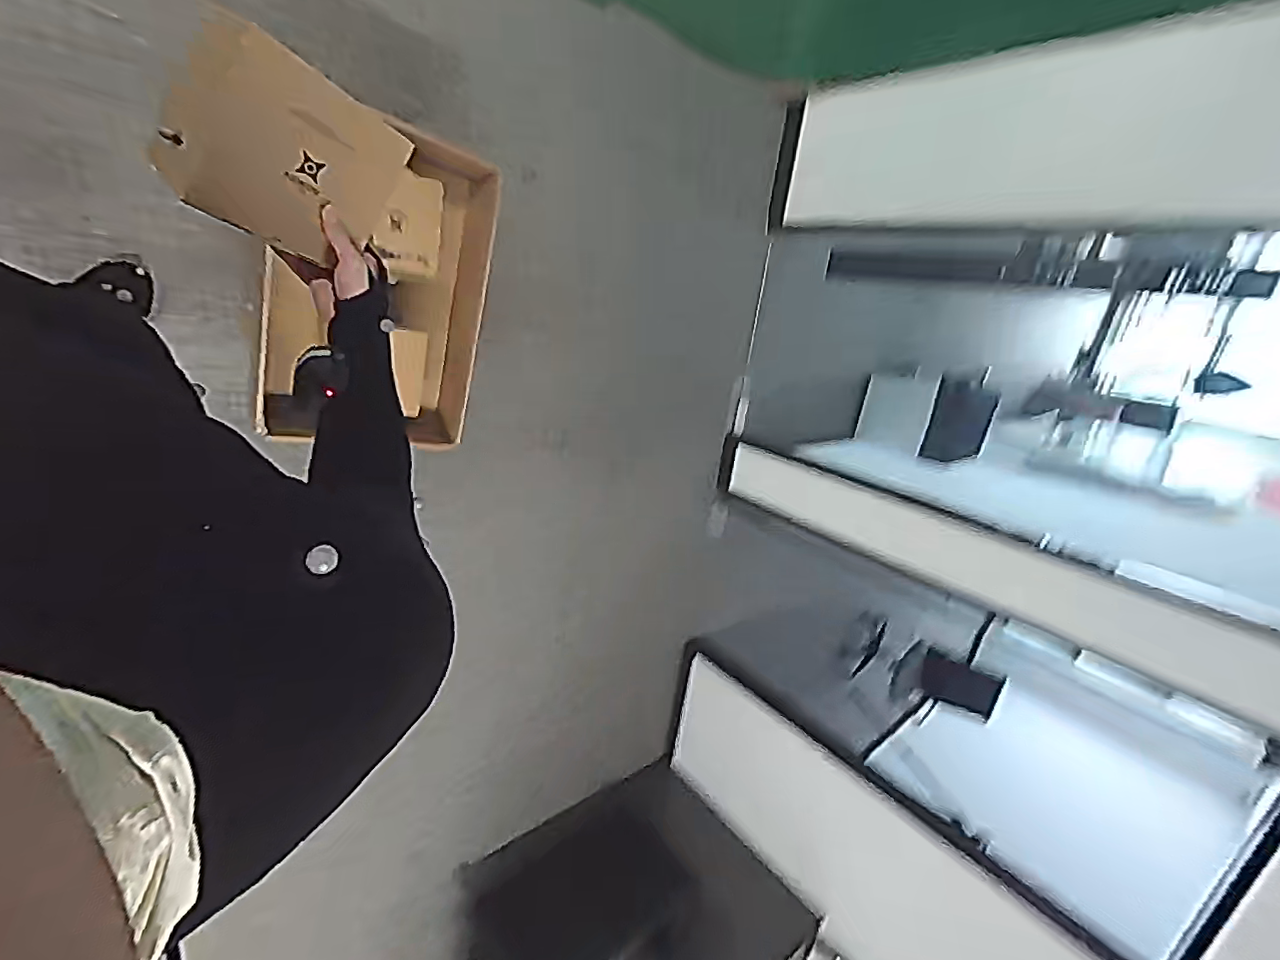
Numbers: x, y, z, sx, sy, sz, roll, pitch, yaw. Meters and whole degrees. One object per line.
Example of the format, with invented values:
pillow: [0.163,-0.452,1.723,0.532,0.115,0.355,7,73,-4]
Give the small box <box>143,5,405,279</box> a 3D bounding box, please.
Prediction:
small box: [-0.401,-0.361,0.590,0.179,0.176,0.168,-57,151,12]

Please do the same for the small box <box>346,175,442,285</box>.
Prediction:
small box: [-0.507,-0.493,1.054,0.168,0.176,0.179,-2,110,-43]
